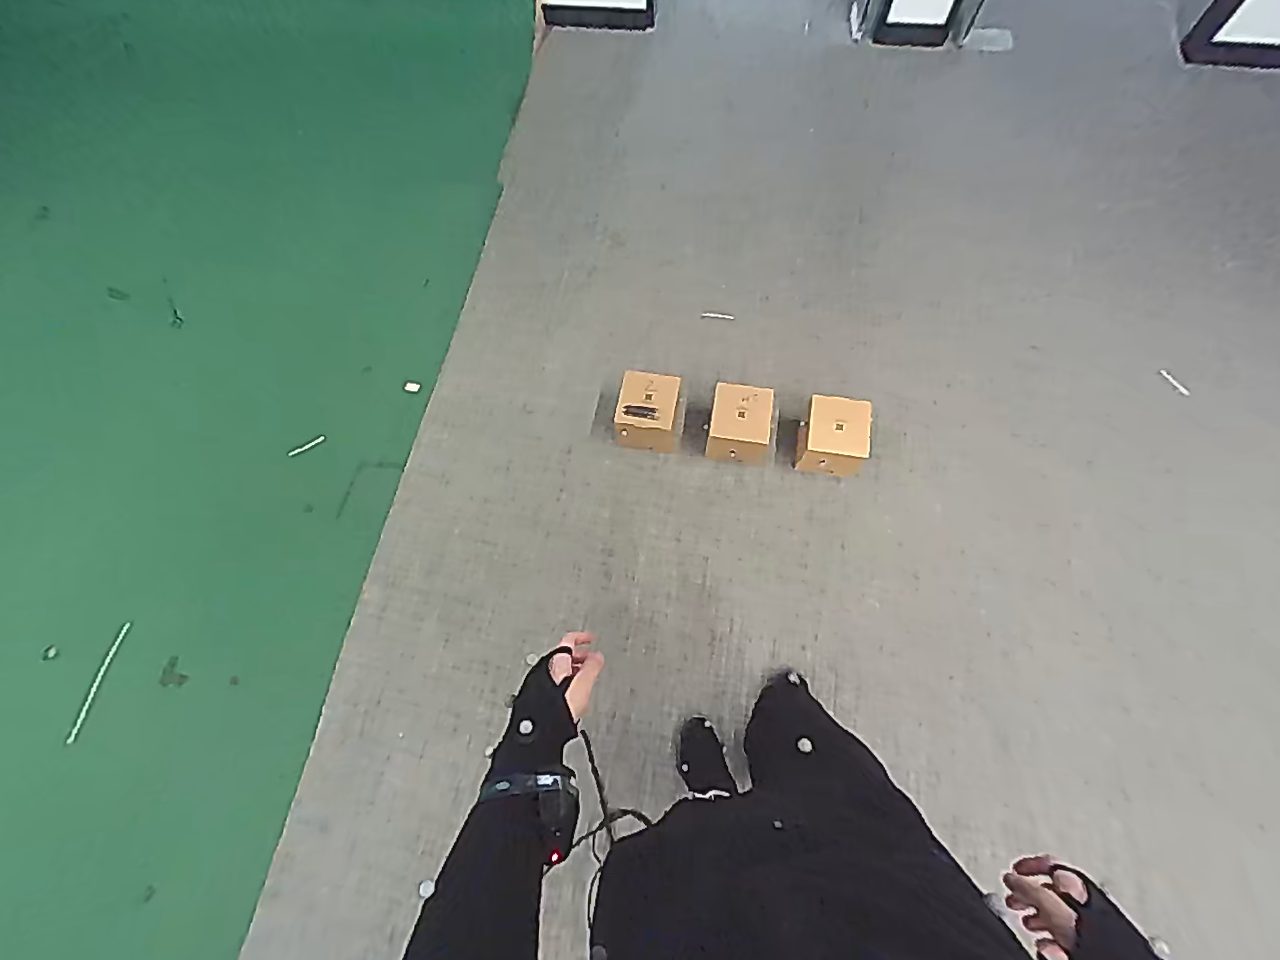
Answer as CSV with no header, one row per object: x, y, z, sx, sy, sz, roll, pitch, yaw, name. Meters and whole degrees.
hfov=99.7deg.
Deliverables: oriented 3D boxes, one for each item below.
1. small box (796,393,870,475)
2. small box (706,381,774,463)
0.554,-0.128,1.566,0.168,0.176,0.179,8,70,6,small box
0.289,-0.165,1.589,0.168,0.176,0.179,9,70,5,small box
